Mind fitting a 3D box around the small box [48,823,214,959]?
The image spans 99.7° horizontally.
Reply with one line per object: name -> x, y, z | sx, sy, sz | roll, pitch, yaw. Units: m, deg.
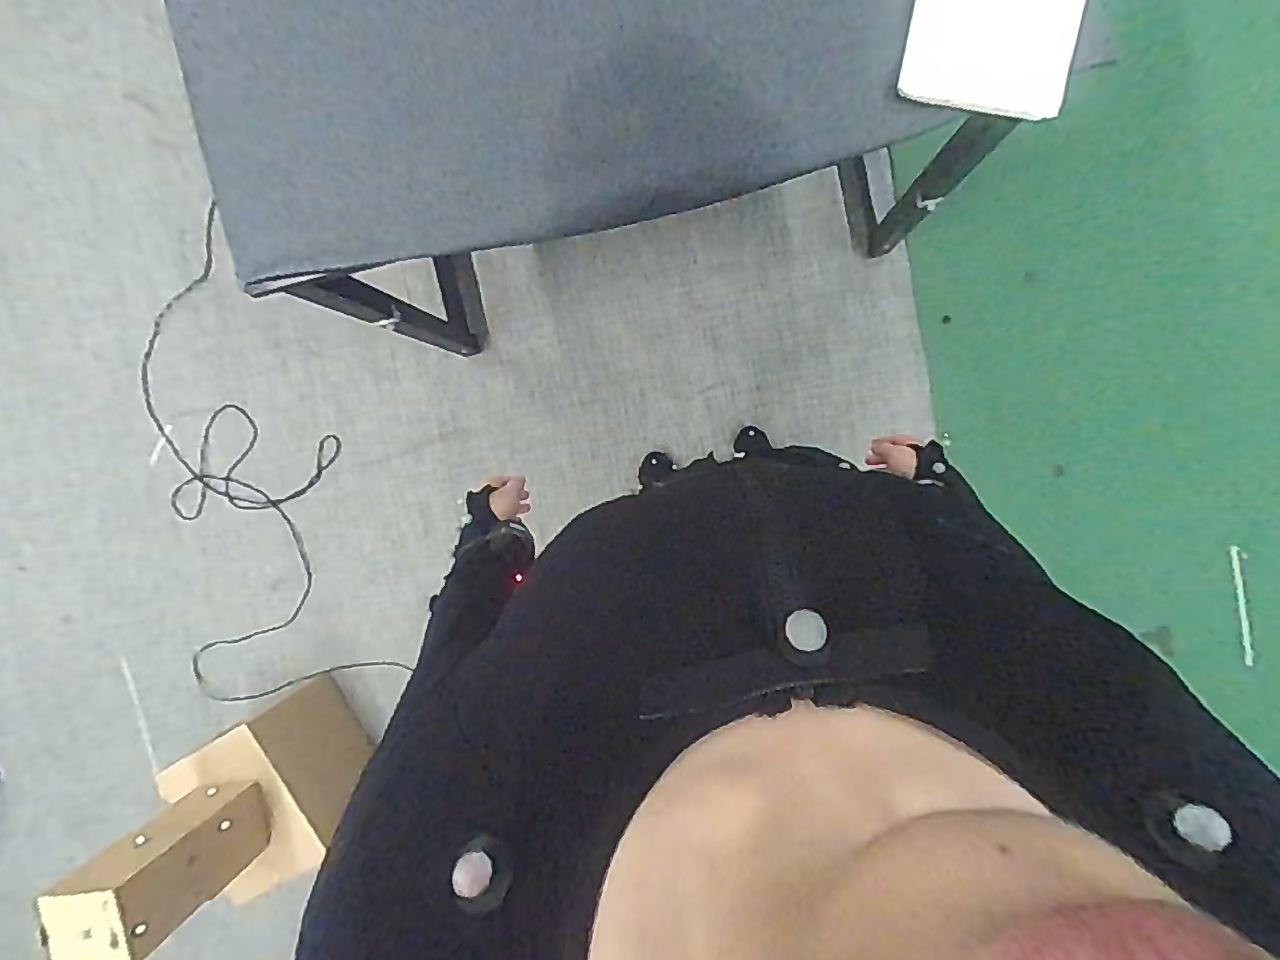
small box -> -1.044, 0.848, 1.121 | 0.179, 0.176, 0.168 | -9, 94, 8

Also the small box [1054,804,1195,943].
small box -> 1.033, 0.840, 1.167 | 0.168, 0.176, 0.179 | -3, 94, 7
